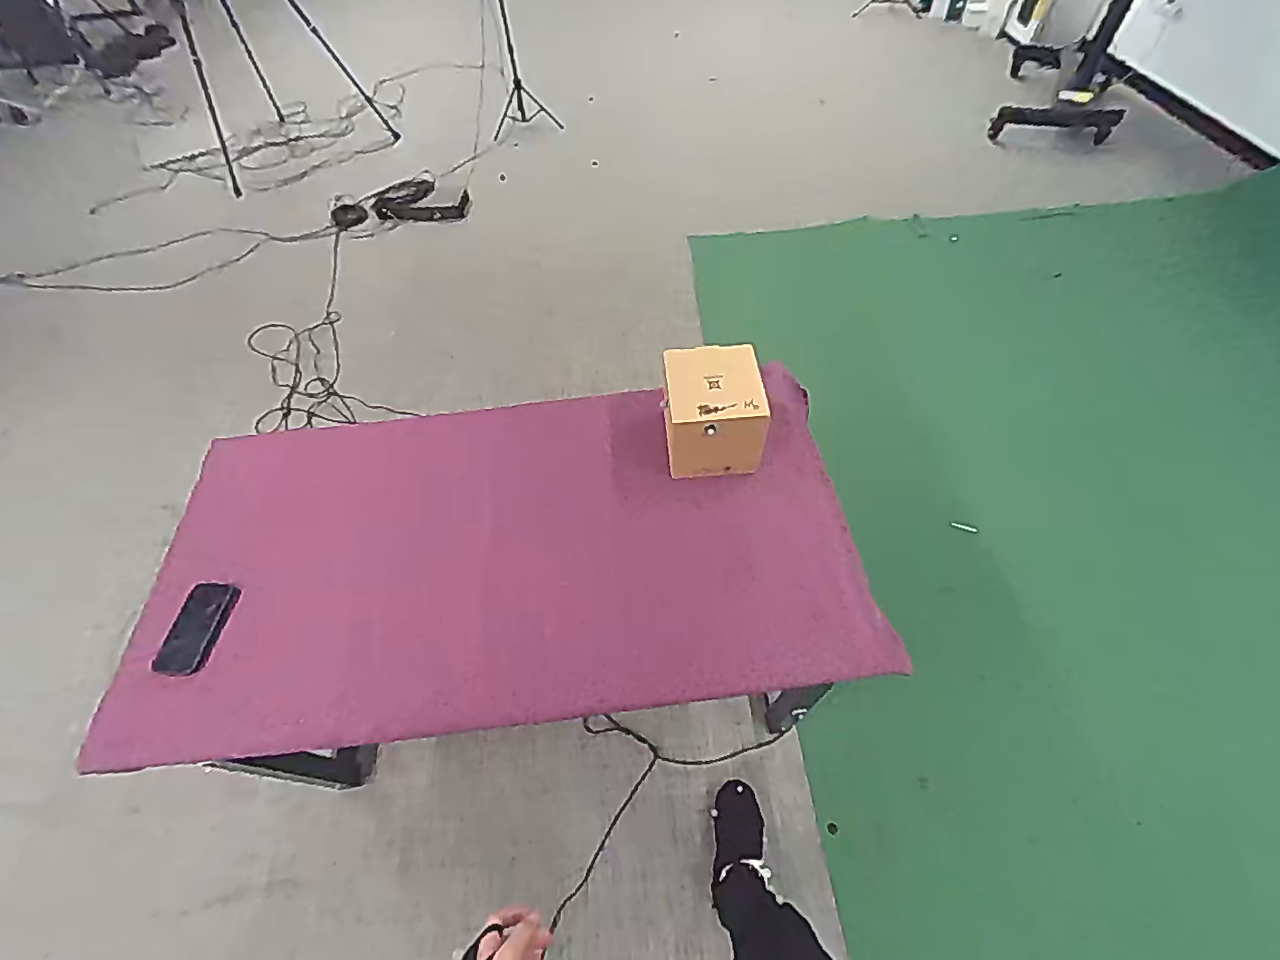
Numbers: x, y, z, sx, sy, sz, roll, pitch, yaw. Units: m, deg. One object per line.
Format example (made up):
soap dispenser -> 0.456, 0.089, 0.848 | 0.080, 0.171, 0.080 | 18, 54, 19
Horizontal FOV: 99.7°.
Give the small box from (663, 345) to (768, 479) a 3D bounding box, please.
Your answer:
small box -> 0.128, -0.124, 0.999 | 0.168, 0.176, 0.179 | -5, 55, 1
